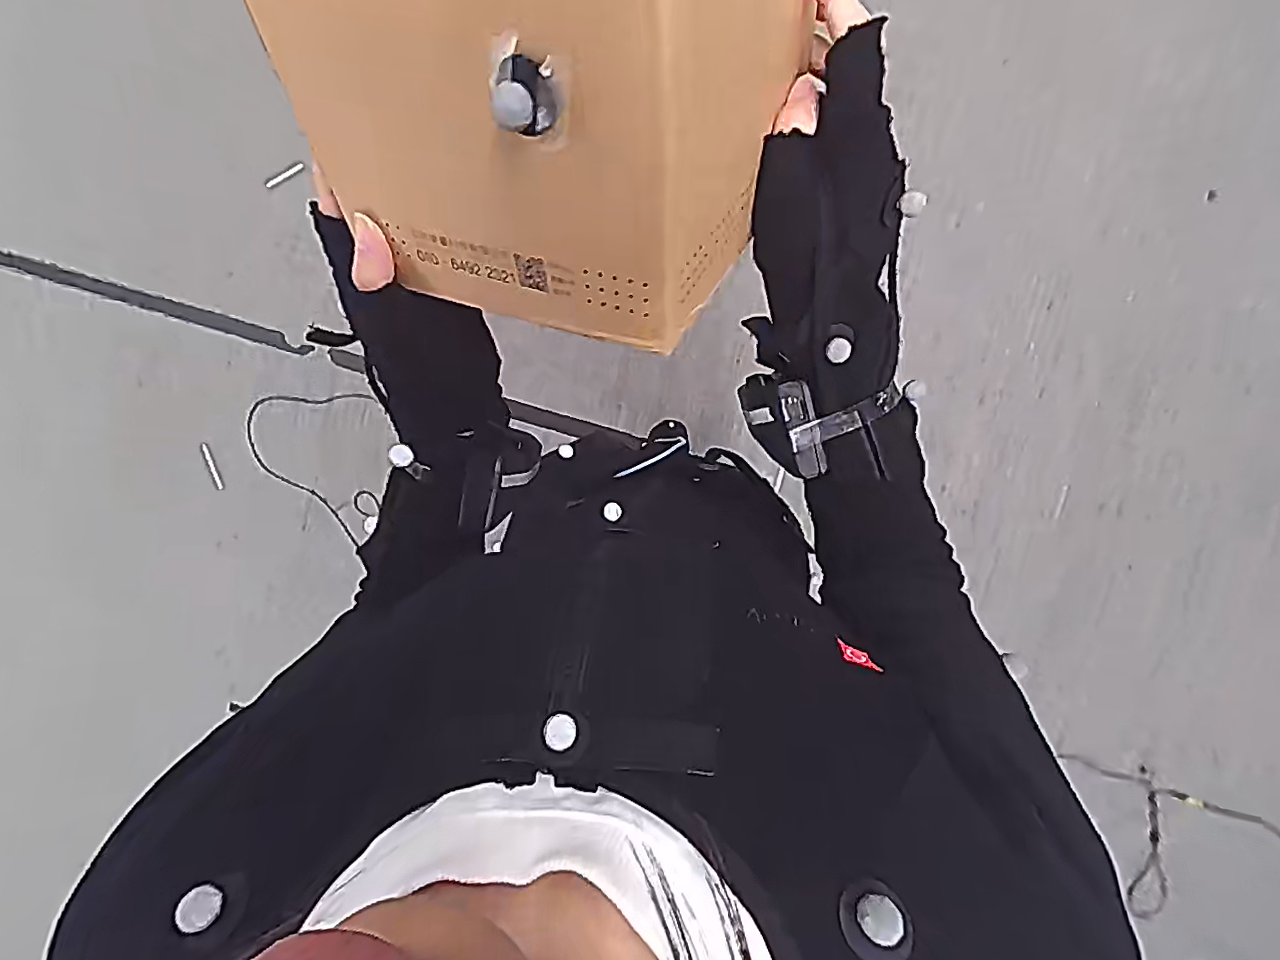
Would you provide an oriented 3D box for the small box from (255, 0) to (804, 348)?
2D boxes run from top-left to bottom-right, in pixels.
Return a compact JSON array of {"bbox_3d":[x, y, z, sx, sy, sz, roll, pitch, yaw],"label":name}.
[{"bbox_3d":[-0.029,-0.185,0.237,0.168,0.176,0.179,20,55,19],"label":"small box"}]
